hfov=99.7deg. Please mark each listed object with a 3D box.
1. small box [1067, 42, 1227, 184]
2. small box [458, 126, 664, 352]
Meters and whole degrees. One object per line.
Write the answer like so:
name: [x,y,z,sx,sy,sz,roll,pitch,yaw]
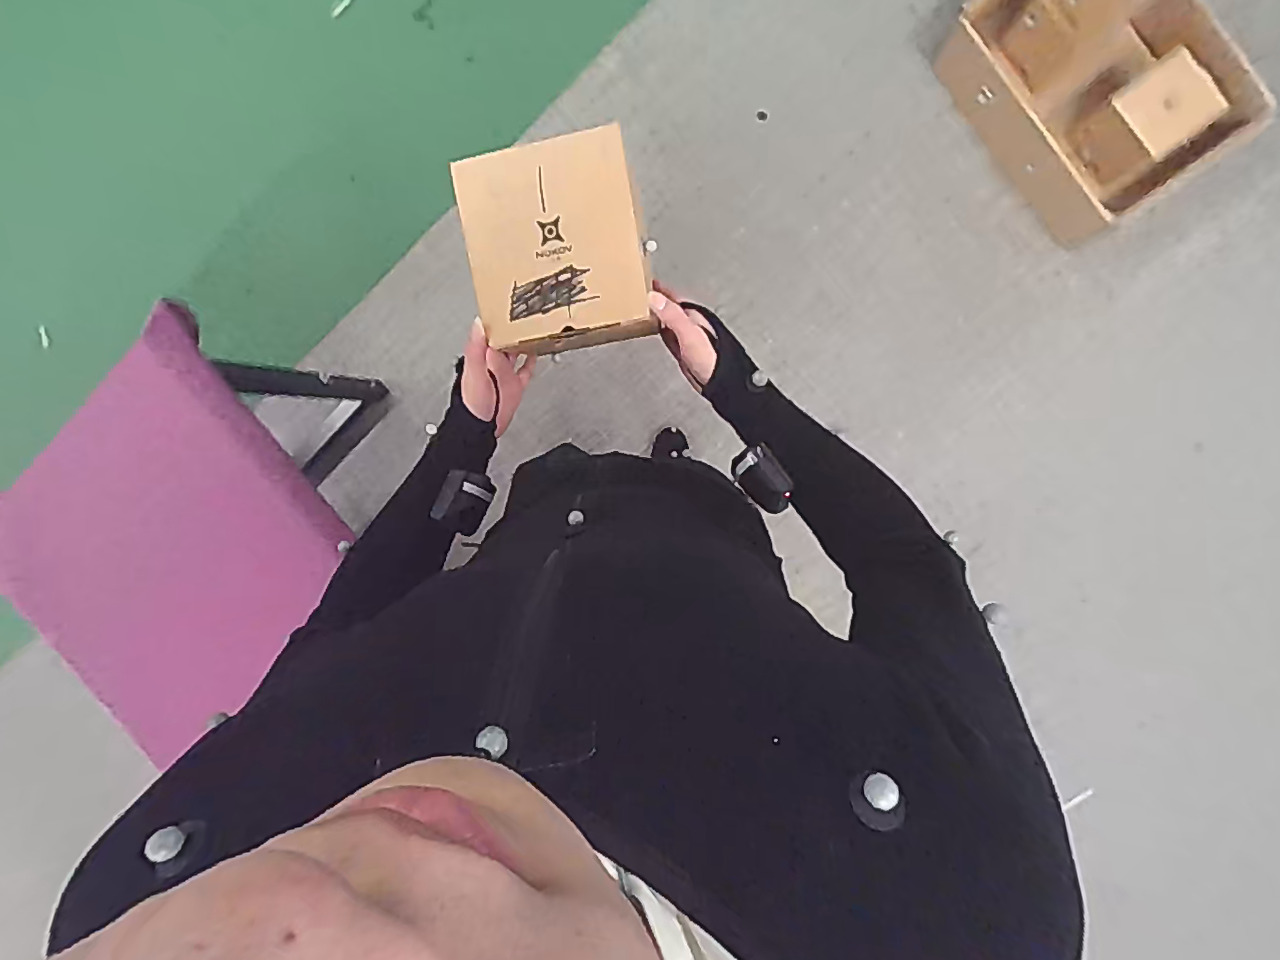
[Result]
small box: [1.161,-0.840,1.256,0.179,0.176,0.168,-37,89,10]
small box: [-0.069,-0.237,0.586,0.168,0.176,0.179,-8,99,7]
